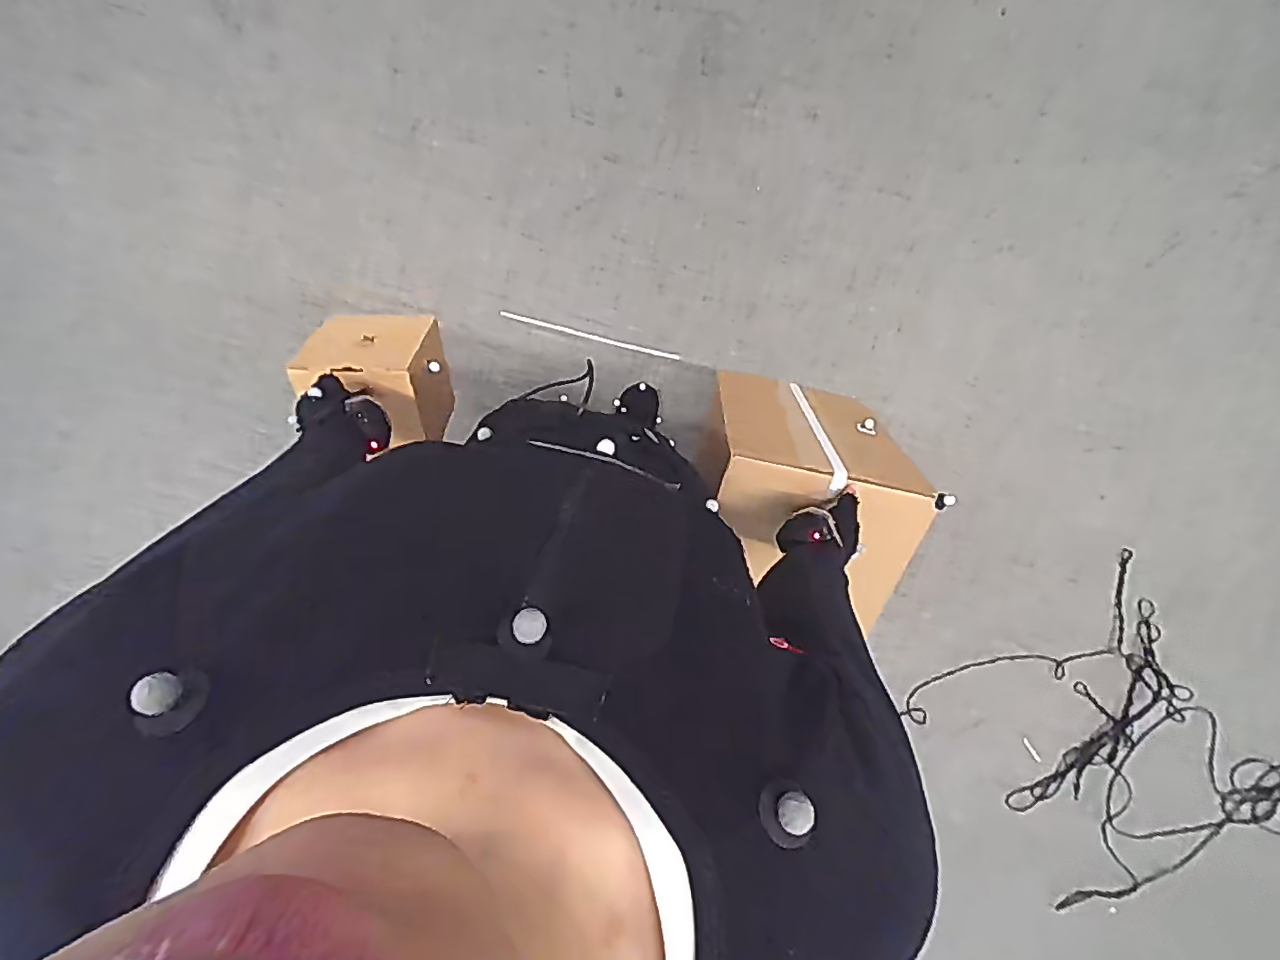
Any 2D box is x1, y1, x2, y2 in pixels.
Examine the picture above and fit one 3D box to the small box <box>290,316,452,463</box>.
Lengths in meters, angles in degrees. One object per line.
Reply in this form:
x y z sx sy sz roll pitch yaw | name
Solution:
-0.411 -0.146 0.866 0.168 0.179 0.176 -1 132 -3 | small box
